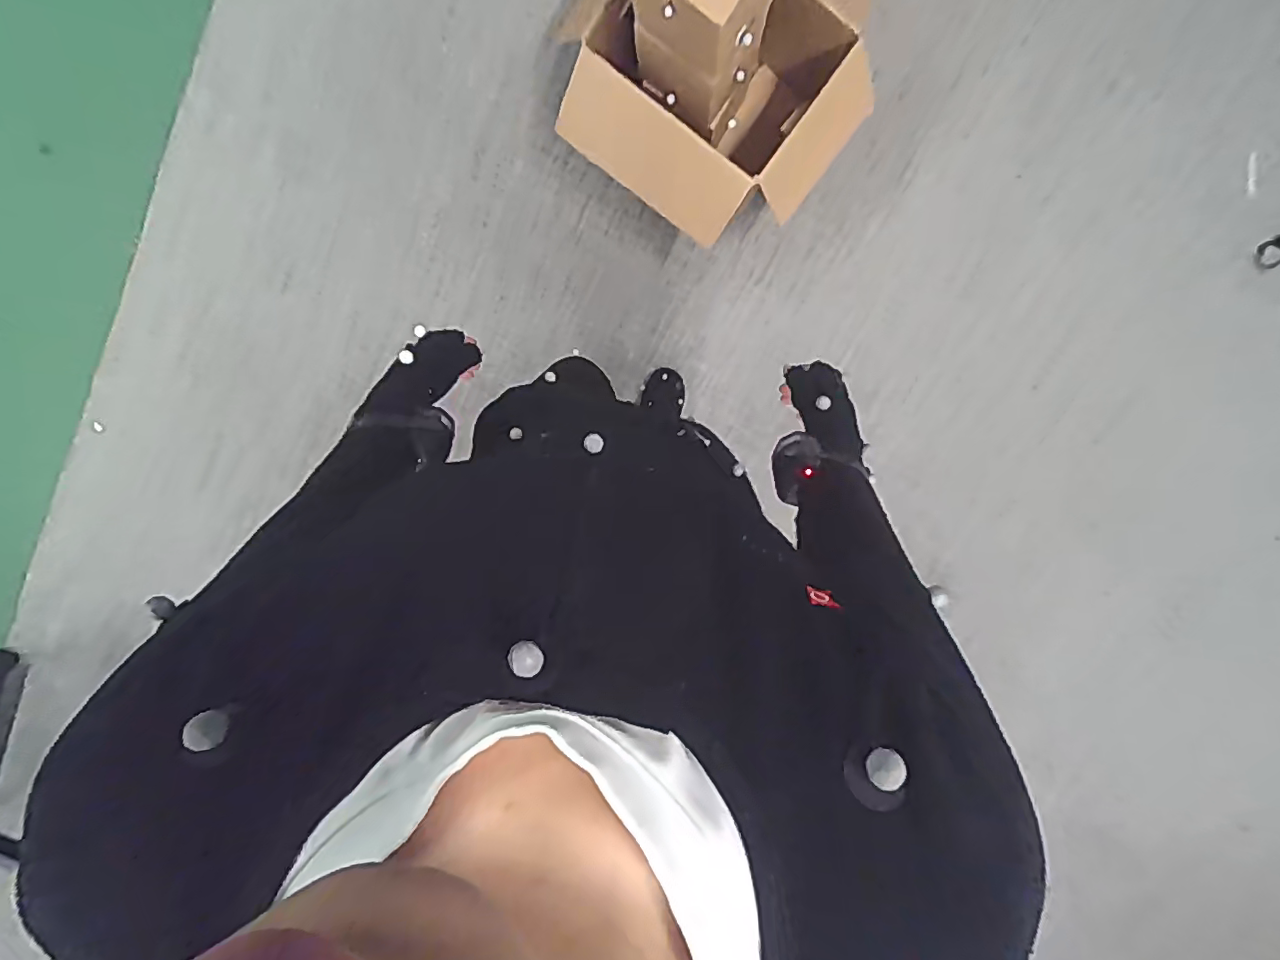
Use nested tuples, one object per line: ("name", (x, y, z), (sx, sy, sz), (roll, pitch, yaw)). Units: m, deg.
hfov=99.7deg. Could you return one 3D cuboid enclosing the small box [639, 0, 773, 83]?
("small box", (0.107, -0.787, 0.858), (0.179, 0.176, 0.168), (35, 102, -3))
